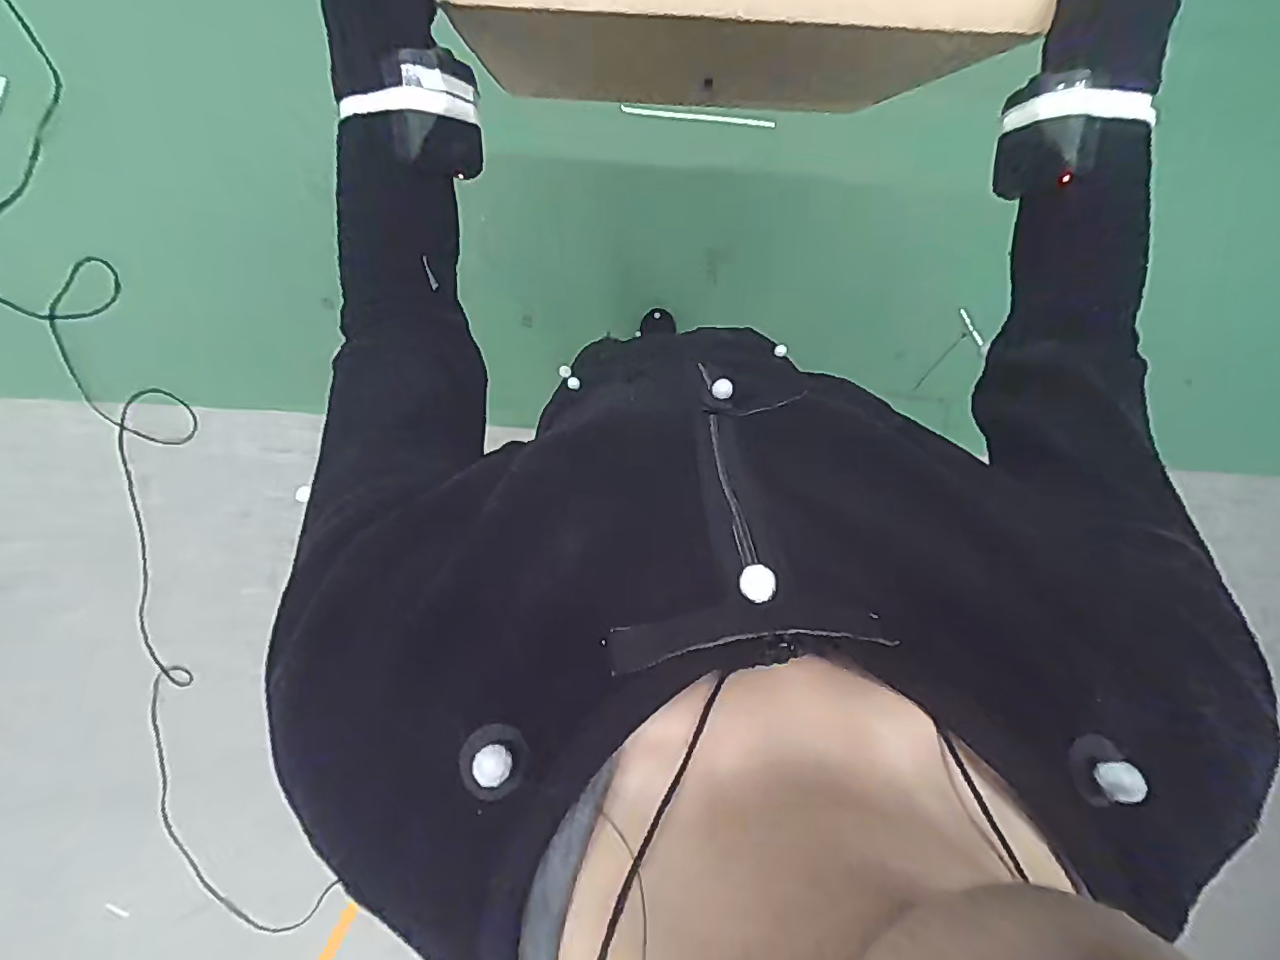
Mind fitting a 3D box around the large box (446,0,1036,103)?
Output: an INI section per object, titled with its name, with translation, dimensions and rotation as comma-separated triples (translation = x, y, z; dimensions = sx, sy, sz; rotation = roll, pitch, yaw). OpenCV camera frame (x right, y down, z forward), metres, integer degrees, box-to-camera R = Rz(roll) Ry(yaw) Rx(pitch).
[large box]
translation = 0.066, -0.508, 0.430
dimensions = 0.408, 0.320, 0.320
rotation = -1, 115, -3
